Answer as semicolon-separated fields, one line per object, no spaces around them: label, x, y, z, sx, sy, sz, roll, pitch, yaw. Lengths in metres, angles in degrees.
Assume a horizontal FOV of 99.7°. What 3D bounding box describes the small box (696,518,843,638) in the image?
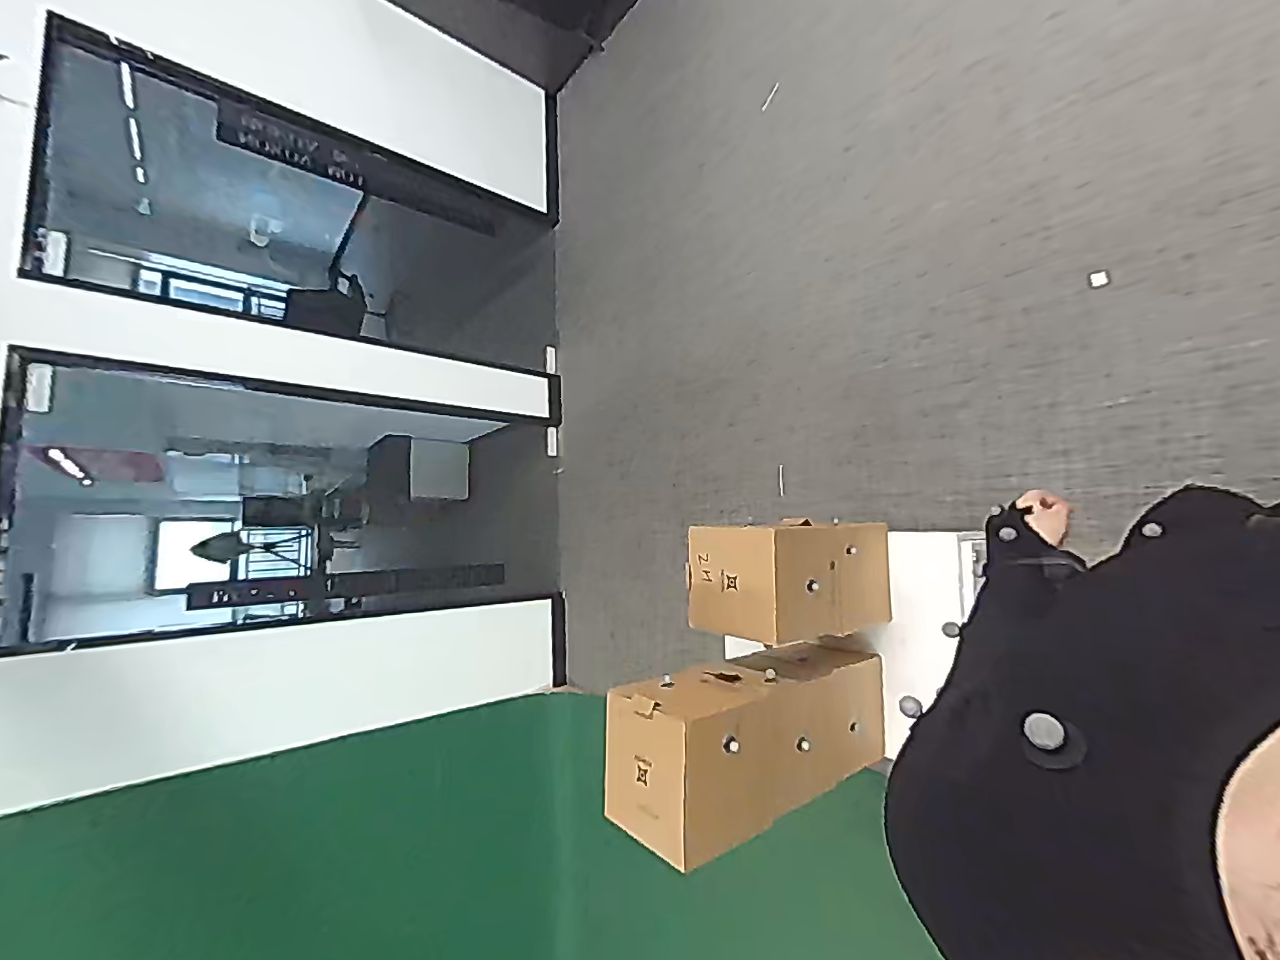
small box;0.211;0.146;0.873;0.179;0.176;0.168;-5;84;52

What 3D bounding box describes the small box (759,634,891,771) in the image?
small box;0.333;0.385;0.972;0.168;0.176;0.179;-7;81;50

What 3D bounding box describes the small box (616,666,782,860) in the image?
small box;0.083;0.373;0.758;0.168;0.176;0.179;-6;83;52
